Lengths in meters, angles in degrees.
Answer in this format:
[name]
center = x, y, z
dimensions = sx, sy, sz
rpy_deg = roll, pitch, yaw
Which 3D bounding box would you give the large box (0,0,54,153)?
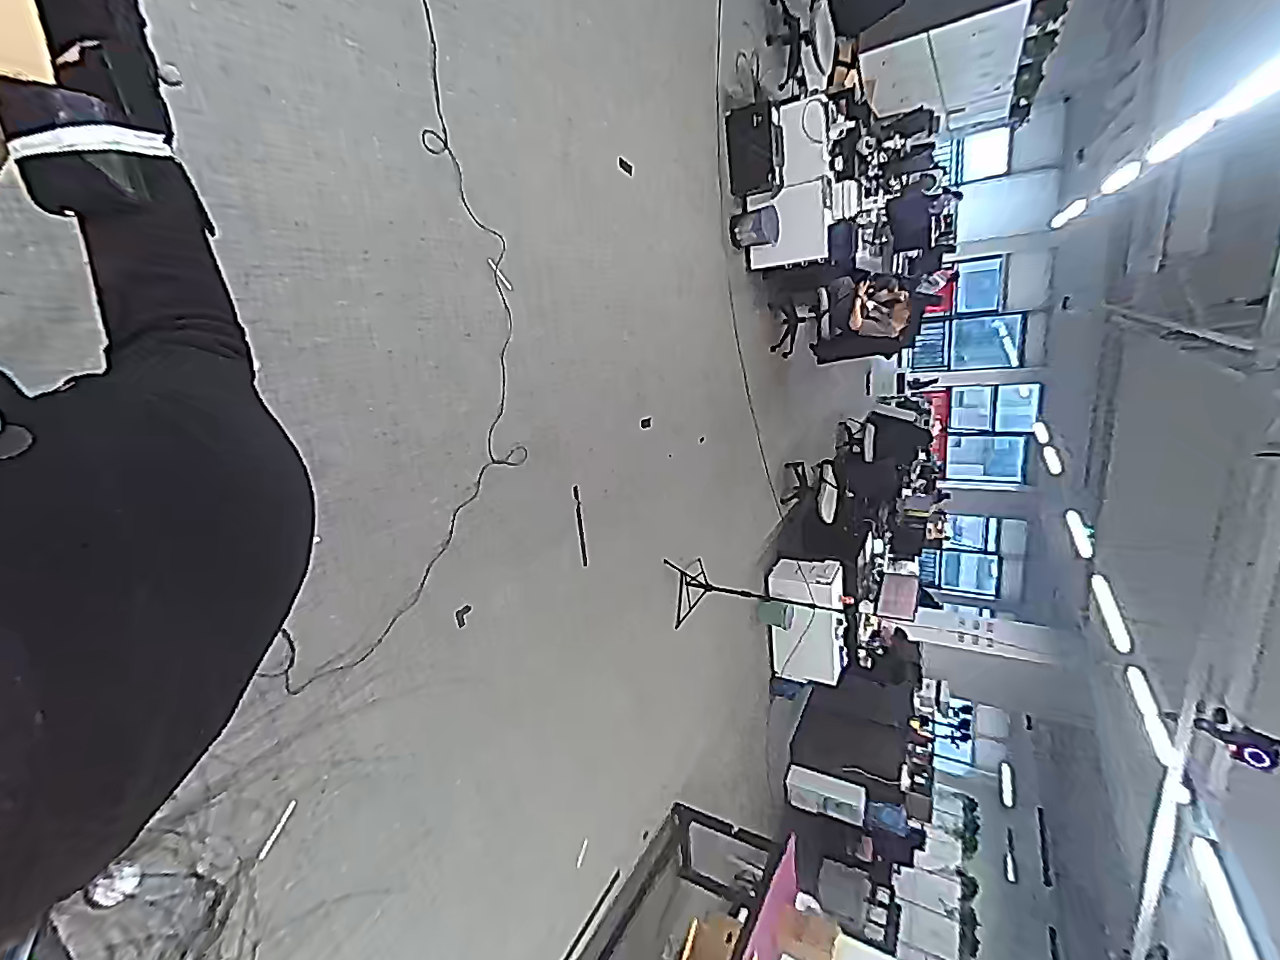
[large box]
center = -0.604, -0.353, 0.221
dimensions = 0.408, 0.320, 0.320
rpy_deg = -23, 114, -53
